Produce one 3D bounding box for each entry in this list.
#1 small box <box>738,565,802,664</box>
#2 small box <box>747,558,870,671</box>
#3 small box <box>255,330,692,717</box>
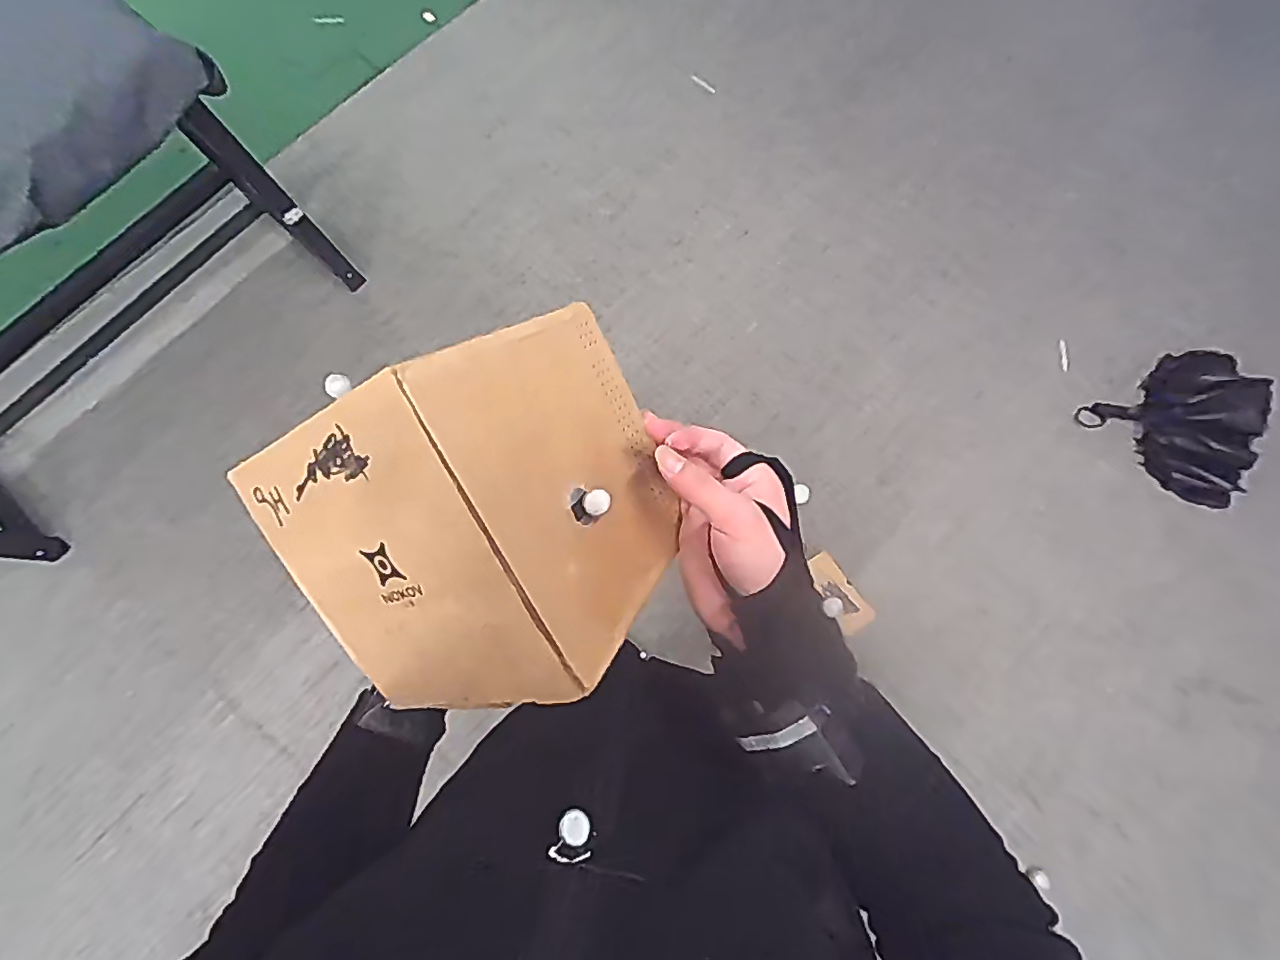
[{"bbox_3d":[0.362,0.332,1.342,0.179,0.176,0.168,-35,76,-5],"label":"small box"},{"bbox_3d":[0.357,0.291,1.182,0.179,0.176,0.168,-33,76,-6],"label":"small box"},{"bbox_3d":[-0.087,0.026,0.355,0.168,0.176,0.179,-17,108,31],"label":"small box"}]
